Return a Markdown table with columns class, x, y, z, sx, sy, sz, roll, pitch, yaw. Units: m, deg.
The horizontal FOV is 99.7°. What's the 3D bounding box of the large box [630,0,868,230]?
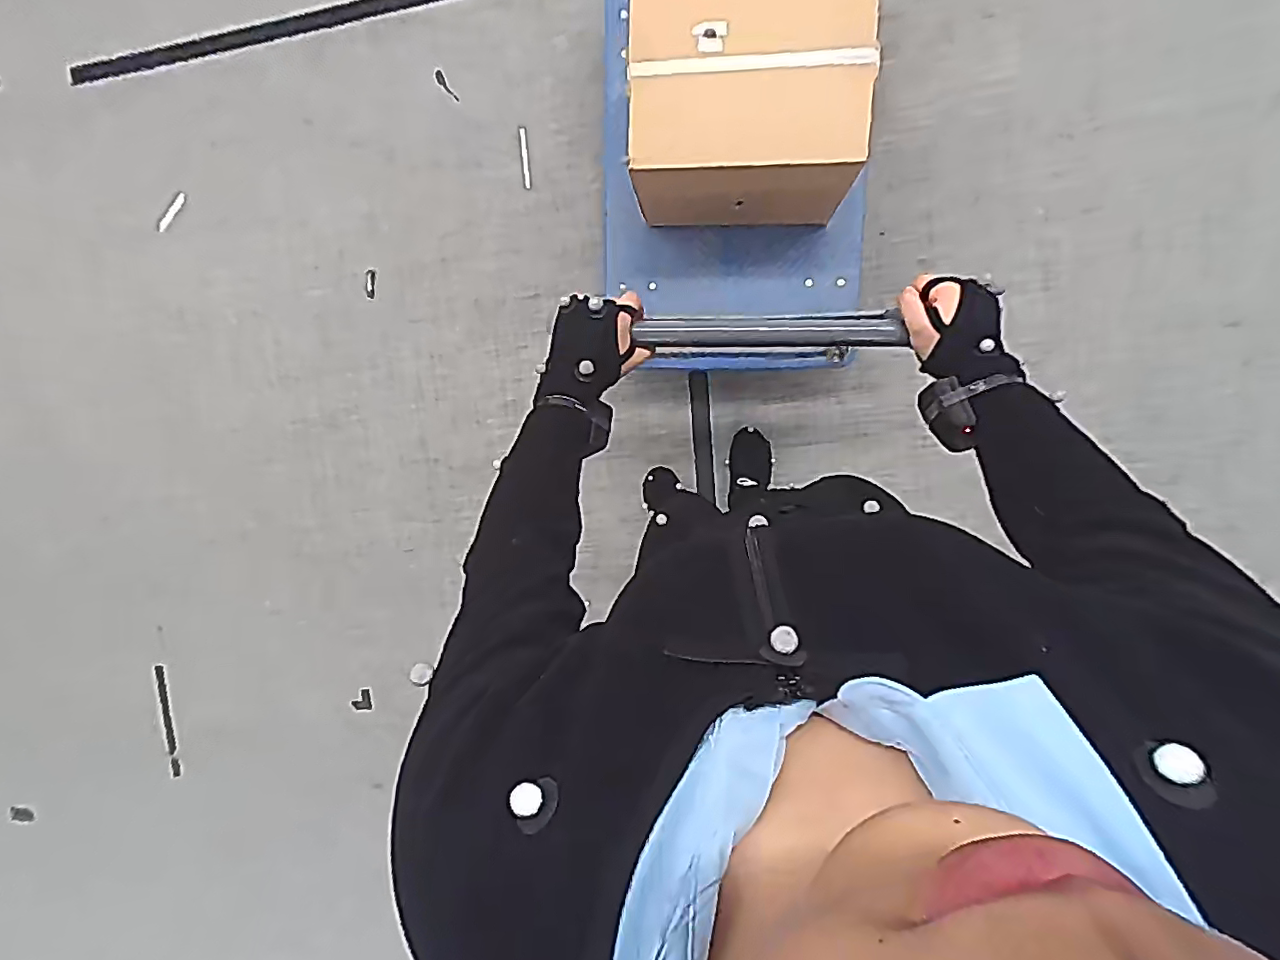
| class | x | y | z | sx | sy | sz | roll | pitch | yaw |
| --- | --- | --- | --- | --- | --- | --- | --- | --- | --- |
| large box | 0.201 | -0.710 | 1.073 | 0.408 | 0.320 | 0.320 | 2 | 97 | 8 |
